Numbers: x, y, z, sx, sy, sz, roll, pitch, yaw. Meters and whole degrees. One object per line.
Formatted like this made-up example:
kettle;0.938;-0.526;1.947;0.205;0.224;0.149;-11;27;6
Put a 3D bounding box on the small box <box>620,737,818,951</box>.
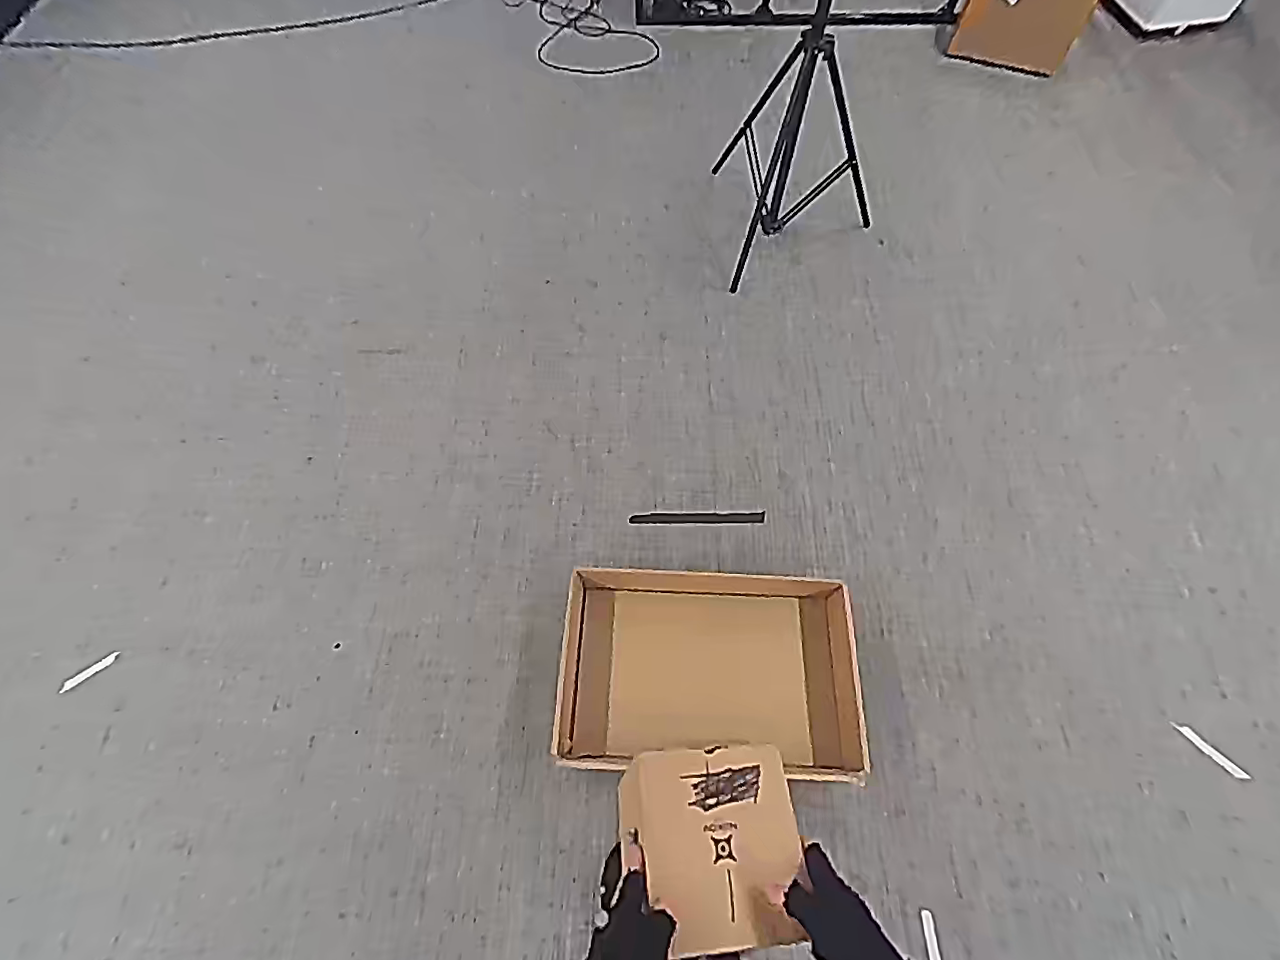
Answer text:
small box;0.071;0.411;0.613;0.168;0.176;0.179;2;49;-10
